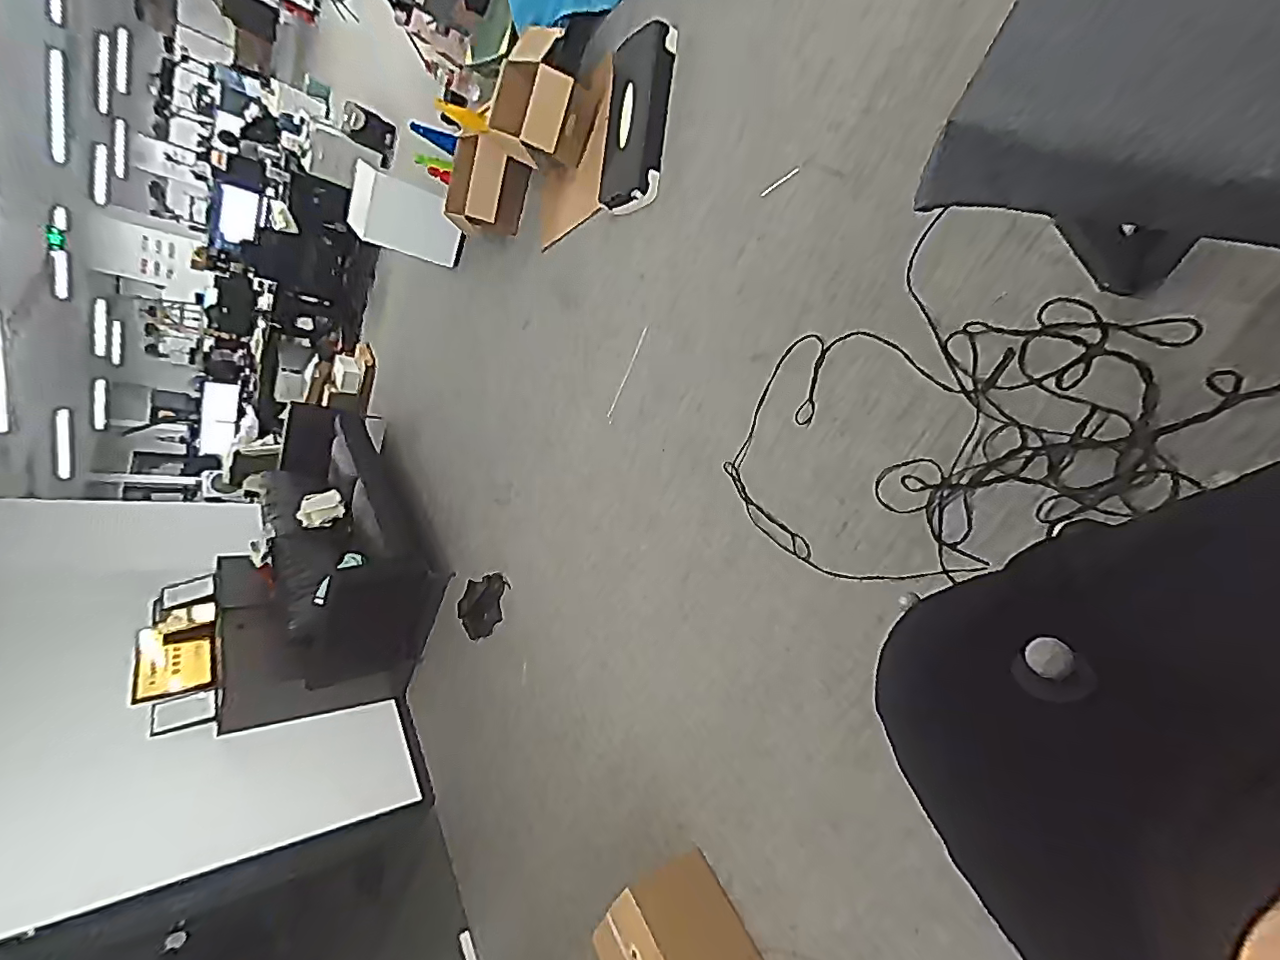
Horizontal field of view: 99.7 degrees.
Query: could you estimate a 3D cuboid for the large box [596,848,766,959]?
[{"bbox_3d":[0.131,1.457,1.654,0.408,0.320,0.320,48,121,41],"label":"large box"}]
